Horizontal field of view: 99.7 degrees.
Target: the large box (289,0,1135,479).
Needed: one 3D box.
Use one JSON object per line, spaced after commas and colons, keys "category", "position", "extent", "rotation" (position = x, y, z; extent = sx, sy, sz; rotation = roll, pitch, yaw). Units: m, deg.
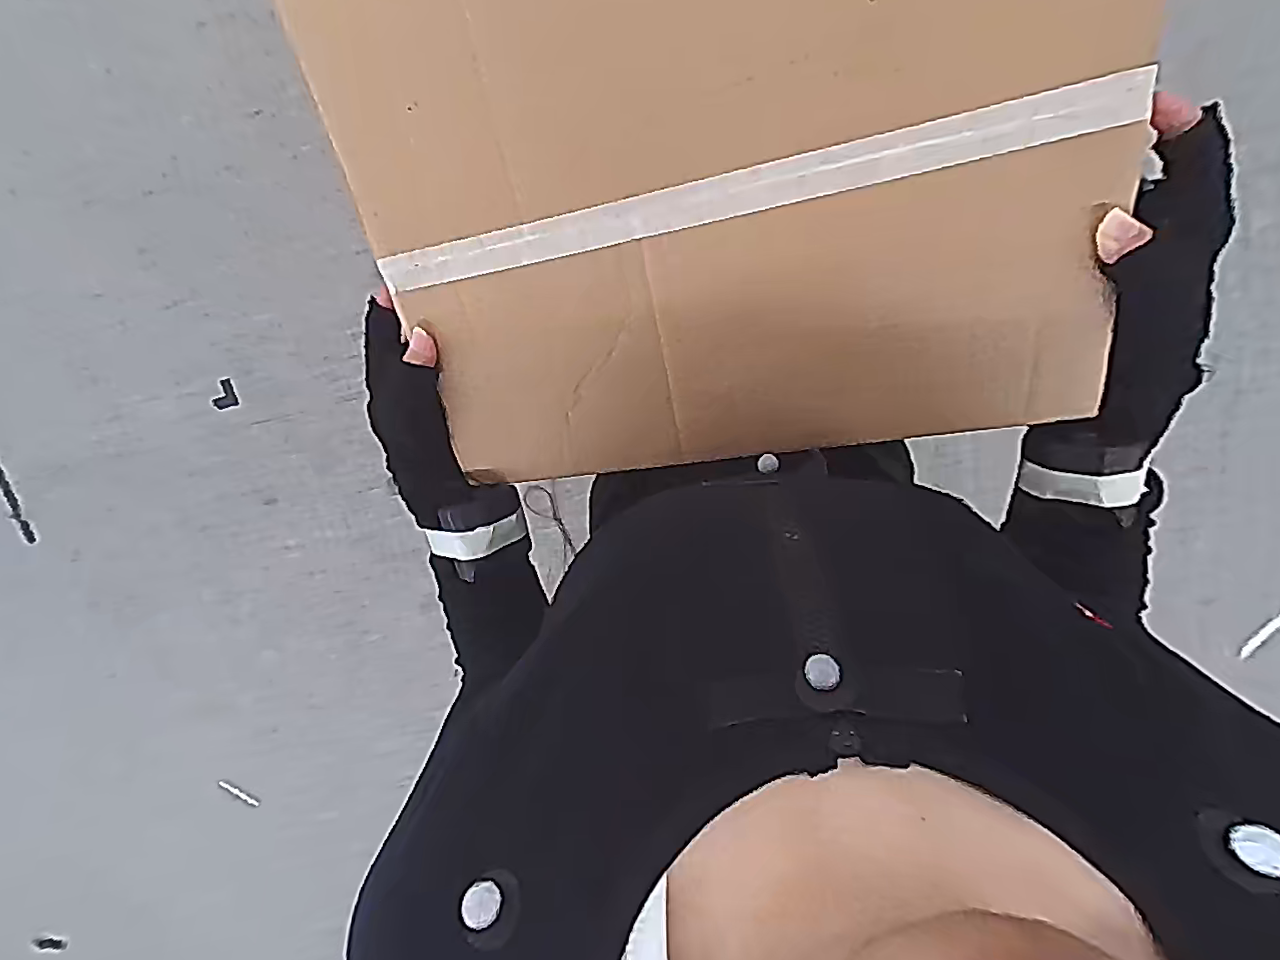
{"category": "large box", "position": [0.059, -0.227, 0.429], "extent": [0.408, 0.320, 0.320], "rotation": [-6, 117, 15]}
